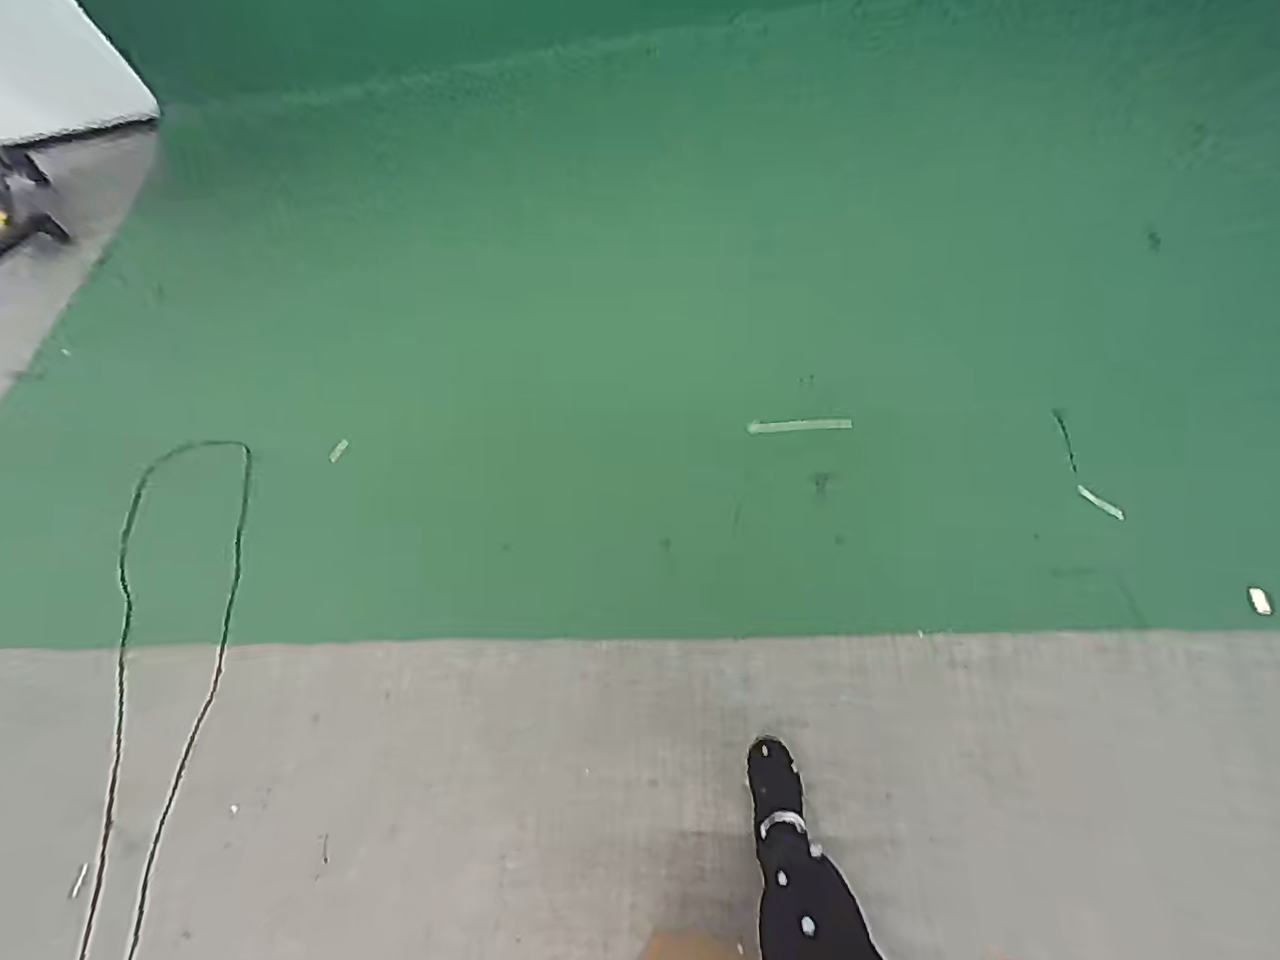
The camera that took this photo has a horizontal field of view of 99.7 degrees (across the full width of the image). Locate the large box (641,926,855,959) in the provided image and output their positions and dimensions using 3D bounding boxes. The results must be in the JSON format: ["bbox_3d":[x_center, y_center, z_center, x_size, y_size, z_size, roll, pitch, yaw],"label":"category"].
[{"bbox_3d":[0.212,1.061,1.005,0.408,0.320,0.320,-5,63,7],"label":"large box"}]
